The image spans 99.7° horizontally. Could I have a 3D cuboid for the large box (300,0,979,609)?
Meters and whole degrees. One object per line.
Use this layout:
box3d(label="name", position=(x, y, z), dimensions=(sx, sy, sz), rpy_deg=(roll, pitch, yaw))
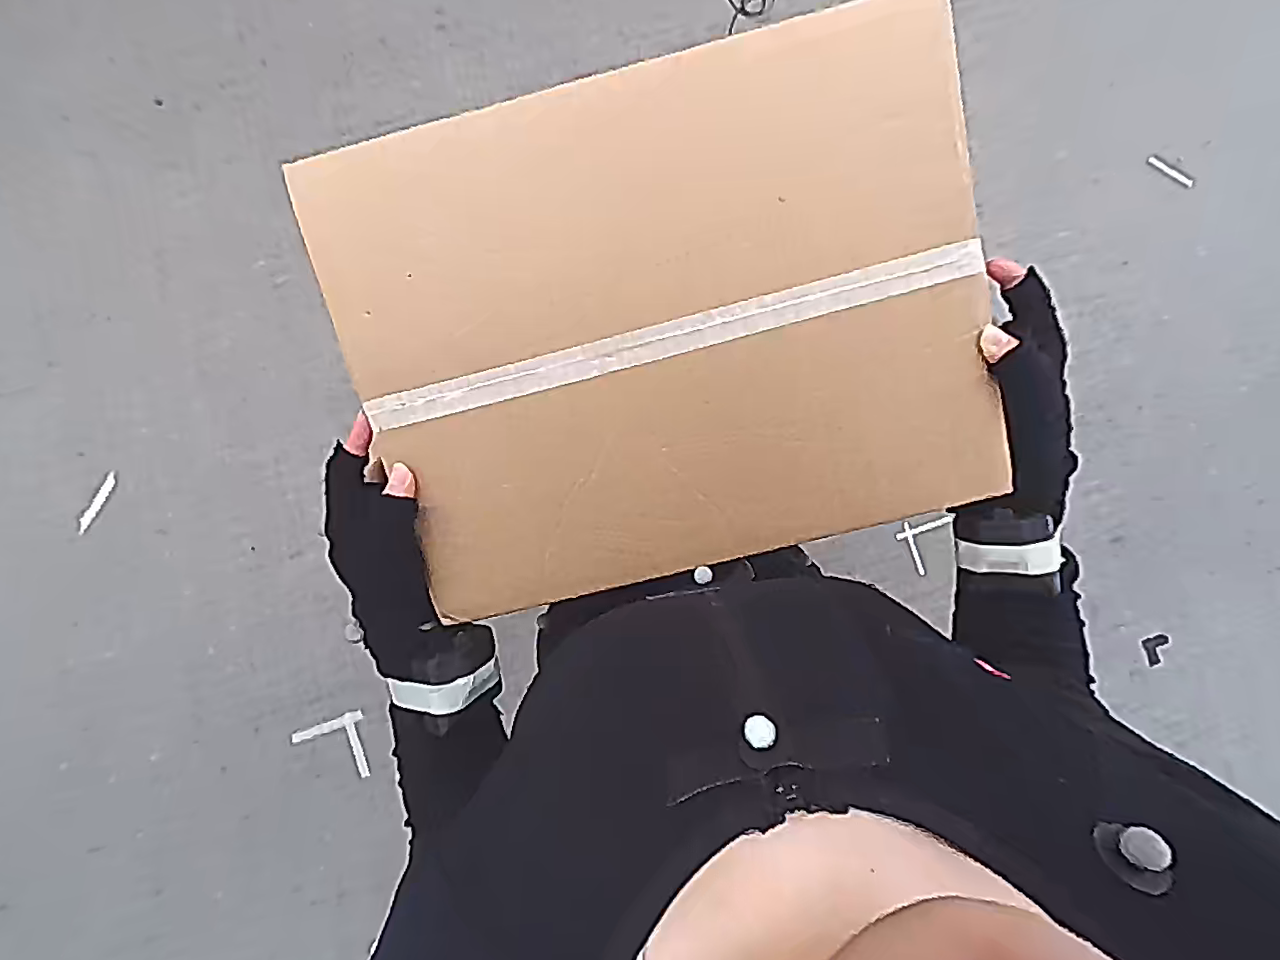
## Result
box3d(label="large box", position=(0.012, -0.127, 0.506), dimensions=(0.408, 0.320, 0.320), rpy_deg=(-14, 100, 3))
